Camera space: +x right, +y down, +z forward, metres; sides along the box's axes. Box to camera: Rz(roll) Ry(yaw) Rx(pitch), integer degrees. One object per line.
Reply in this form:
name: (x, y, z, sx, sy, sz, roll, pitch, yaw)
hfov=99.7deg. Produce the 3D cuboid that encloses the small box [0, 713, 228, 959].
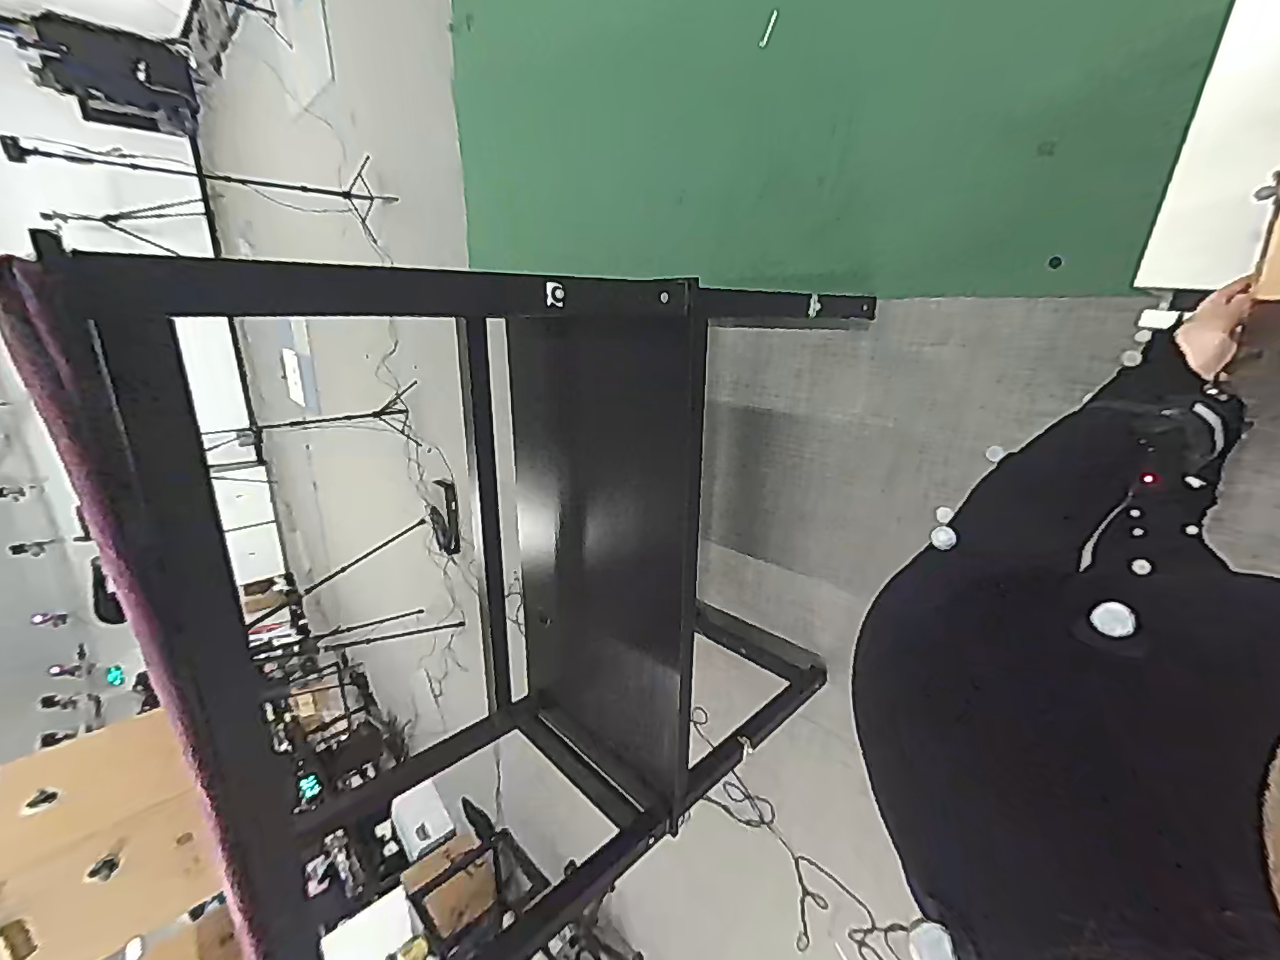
small box: (-0.597, 0.406, 0.621, 0.179, 0.176, 0.168, 21, 116, 43)
